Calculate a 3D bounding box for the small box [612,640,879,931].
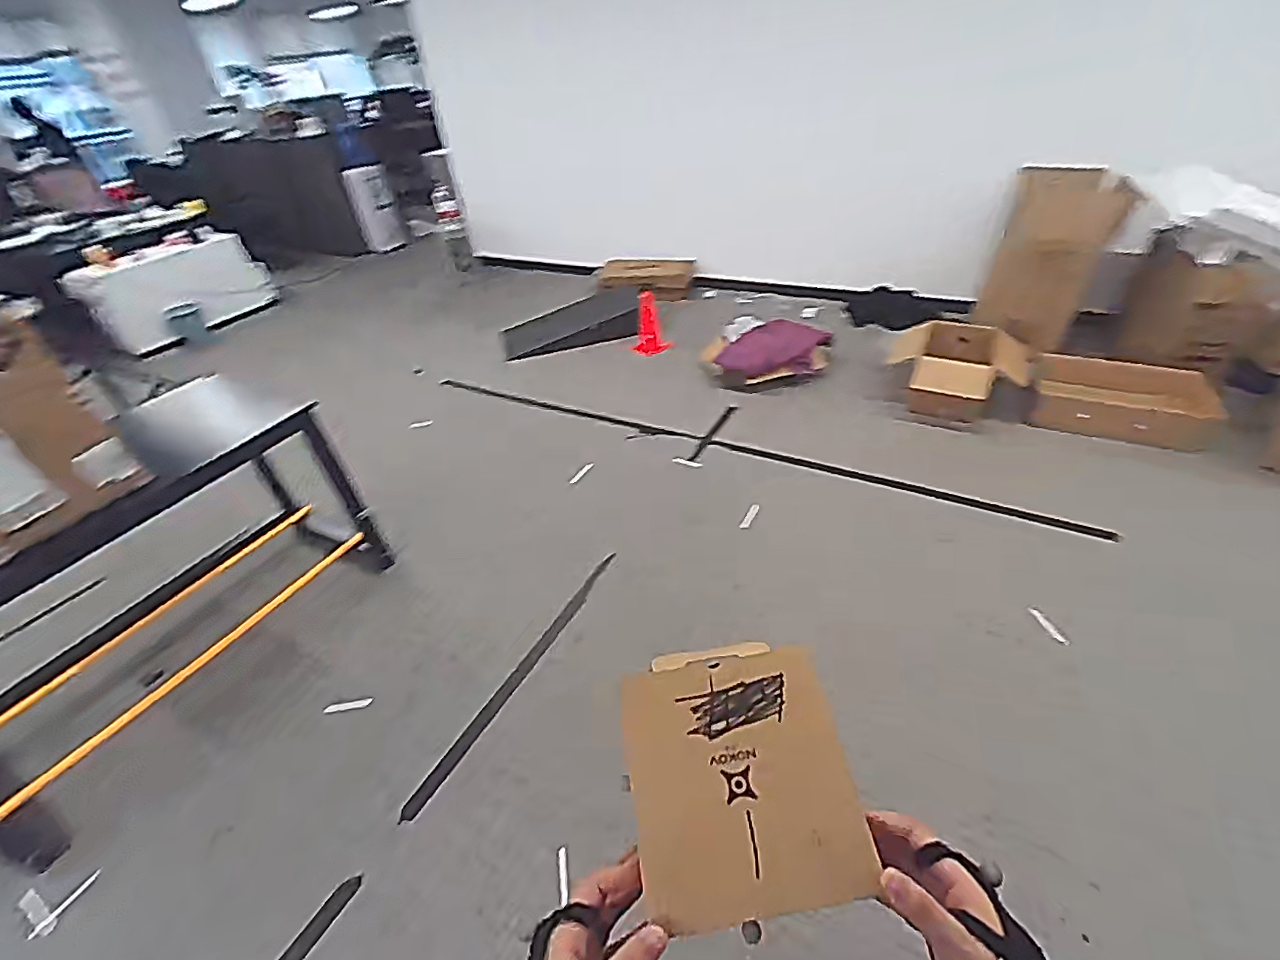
[{"bbox_3d":[0.073,0.266,0.472,0.168,0.176,0.179,-10,52,-2],"label":"small box"}]
